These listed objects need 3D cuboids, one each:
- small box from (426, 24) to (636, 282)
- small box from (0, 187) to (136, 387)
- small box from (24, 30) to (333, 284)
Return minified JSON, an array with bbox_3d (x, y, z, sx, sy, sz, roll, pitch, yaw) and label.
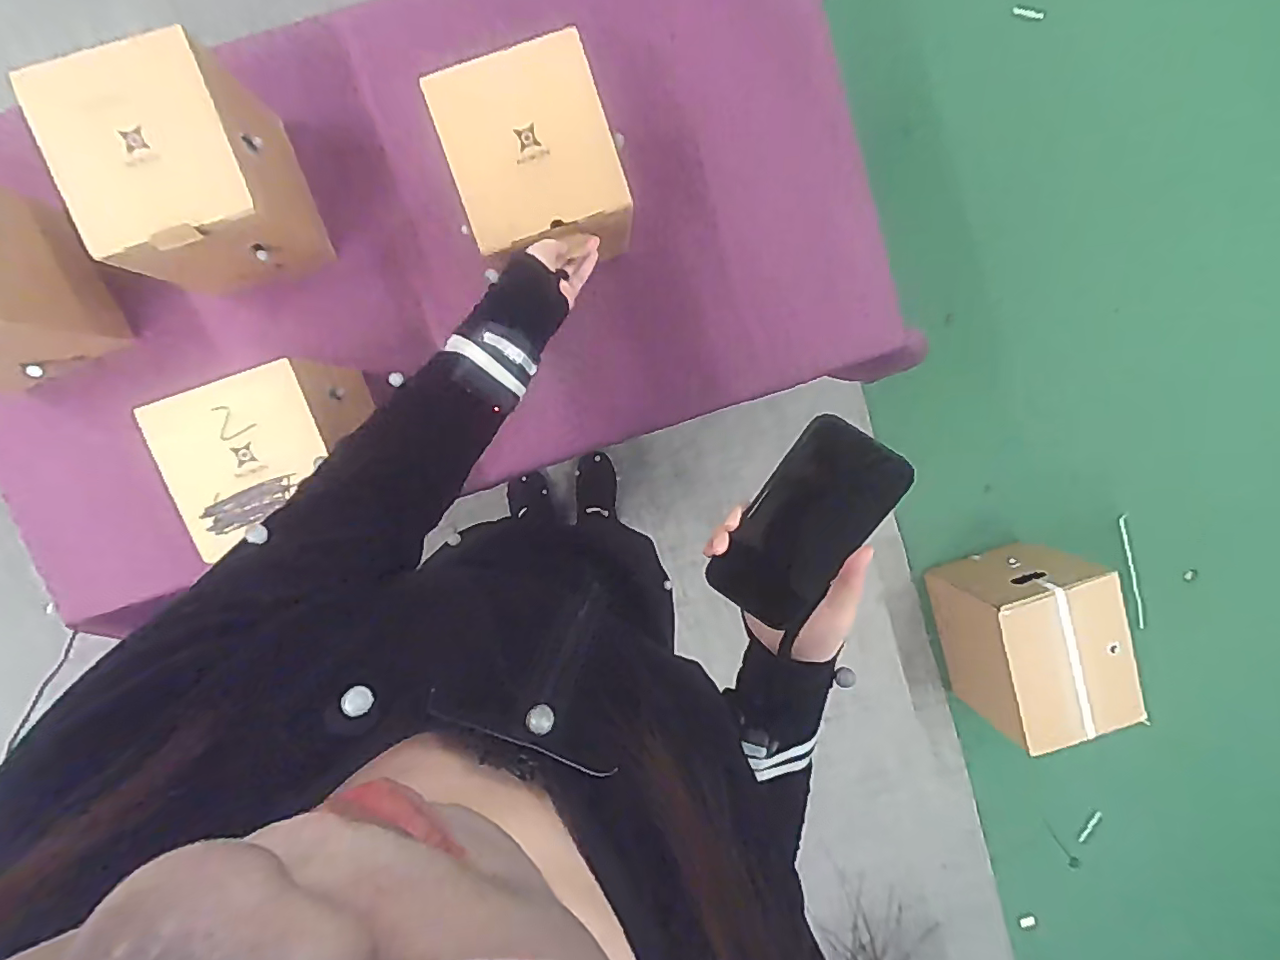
[{"bbox_3d":[-0.113,-0.352,0.620,0.168,0.176,0.179,-20,99,-1],"label":"small box"},{"bbox_3d":[-0.736,-0.214,0.597,0.168,0.176,0.179,-23,99,0],"label":"small box"},{"bbox_3d":[-0.480,-0.331,0.599,0.168,0.176,0.179,-18,98,-2],"label":"small box"}]
